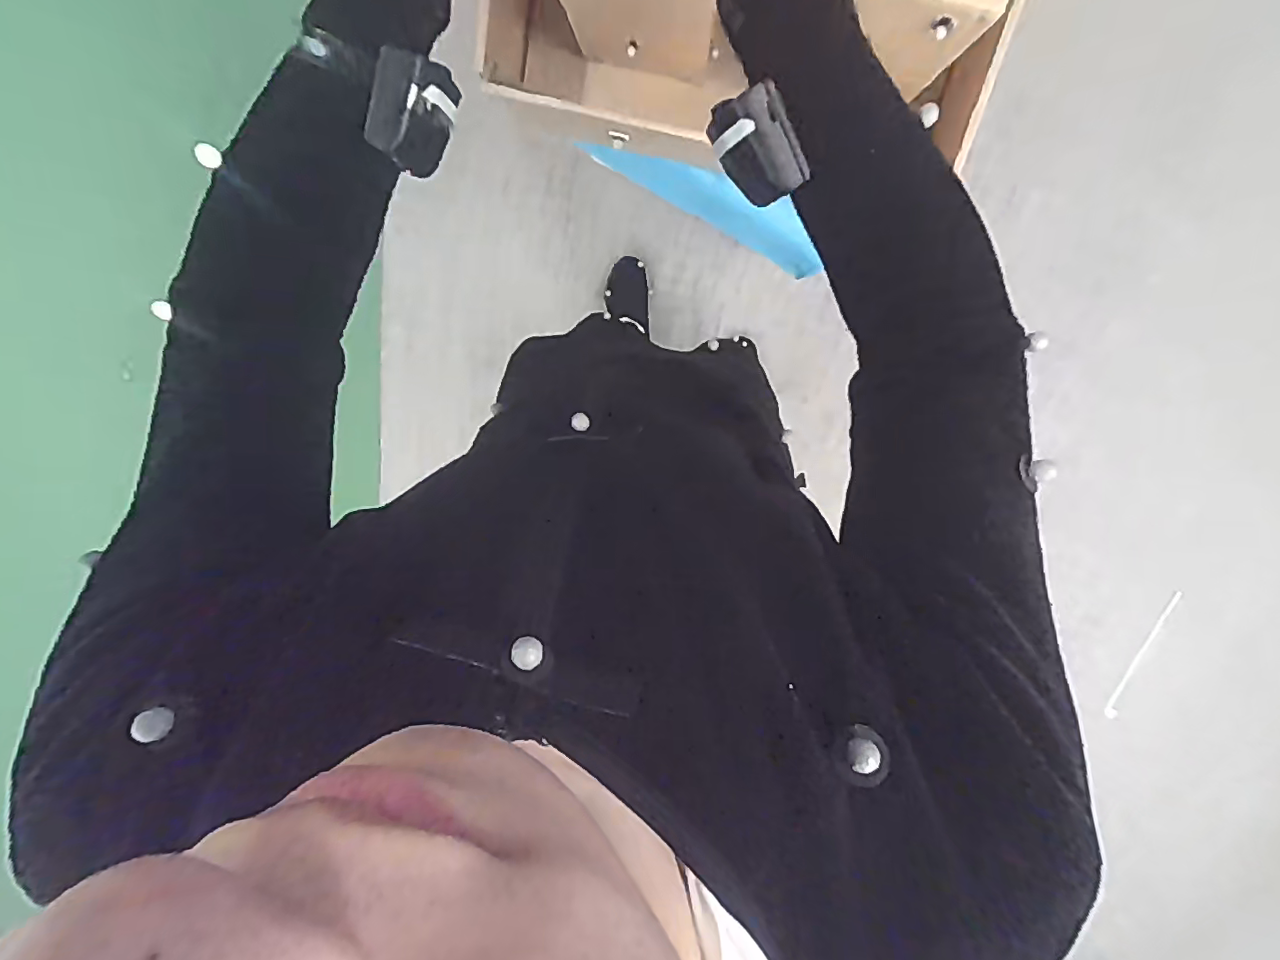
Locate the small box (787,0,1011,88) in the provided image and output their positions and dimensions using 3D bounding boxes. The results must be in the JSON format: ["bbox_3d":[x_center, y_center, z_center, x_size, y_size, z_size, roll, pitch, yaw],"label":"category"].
[{"bbox_3d":[0.256,-0.513,0.518,0.179,0.176,0.168,15,109,1],"label":"small box"}]

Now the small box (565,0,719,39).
[{"bbox_3d":[0.007,-0.566,0.517,0.179,0.176,0.168,13,109,-1],"label":"small box"}]
